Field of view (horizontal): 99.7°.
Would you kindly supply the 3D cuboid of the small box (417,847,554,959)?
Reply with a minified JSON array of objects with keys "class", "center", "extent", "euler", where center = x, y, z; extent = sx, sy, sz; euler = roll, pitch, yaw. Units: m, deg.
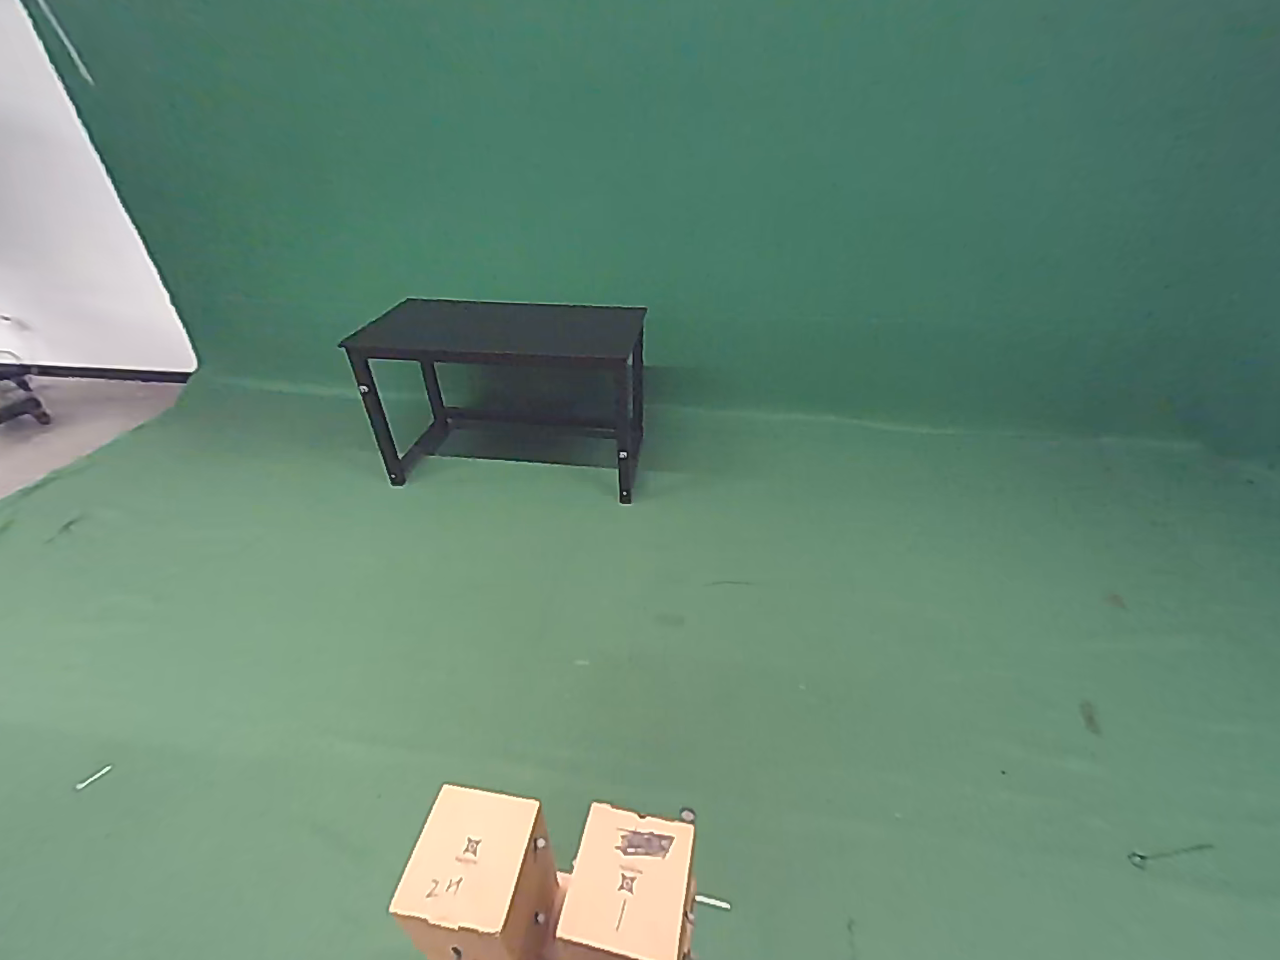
[{"class":"small box","center":[-0.252,0.749,0.931],"extent":[0.168,0.176,0.179],"euler":[6,35,9]}]

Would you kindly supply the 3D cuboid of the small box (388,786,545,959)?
[{"class":"small box","center":[-0.251,0.615,0.835],"extent":[0.168,0.176,0.179],"euler":[5,35,8]}]

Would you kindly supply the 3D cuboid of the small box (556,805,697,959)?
[{"class":"small box","center":[-0.012,0.628,0.803],"extent":[0.168,0.176,0.179],"euler":[6,36,12]}]
